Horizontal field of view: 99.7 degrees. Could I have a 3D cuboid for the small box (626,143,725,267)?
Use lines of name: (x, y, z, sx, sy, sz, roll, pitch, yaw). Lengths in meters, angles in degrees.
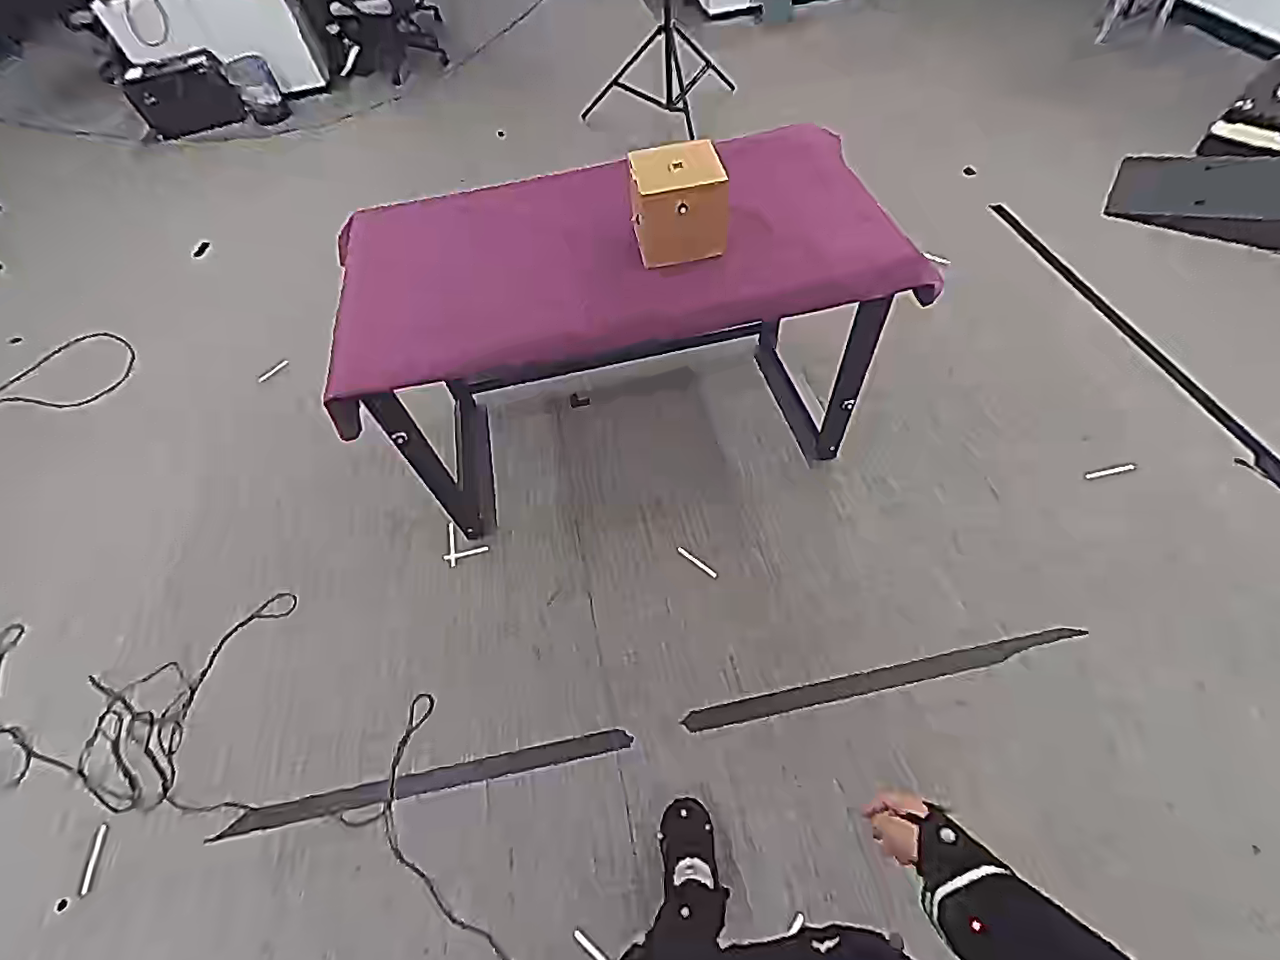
small box: (0.075, -0.574, 1.142, 0.179, 0.176, 0.168, -11, 57, -2)
